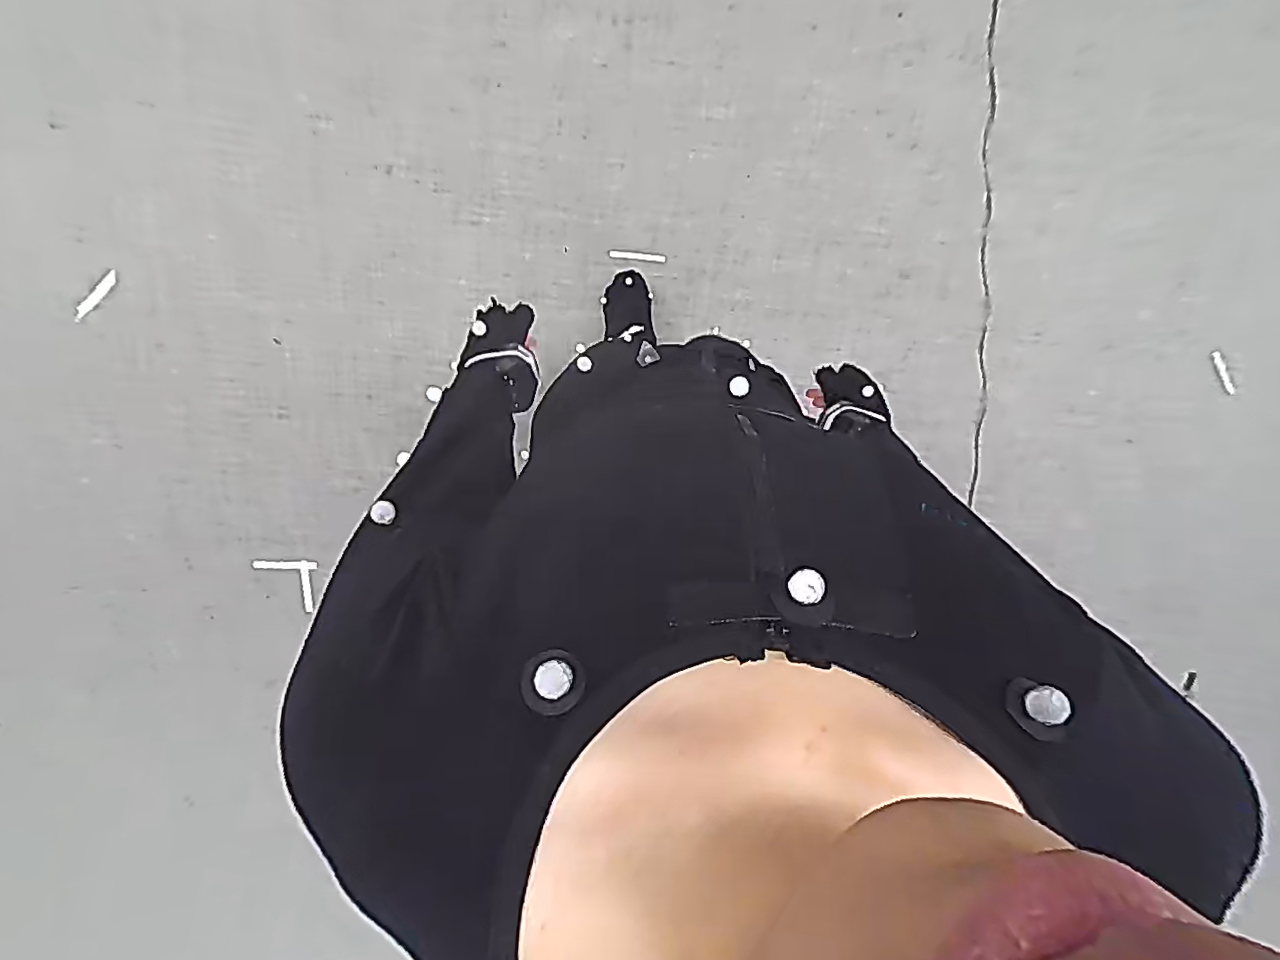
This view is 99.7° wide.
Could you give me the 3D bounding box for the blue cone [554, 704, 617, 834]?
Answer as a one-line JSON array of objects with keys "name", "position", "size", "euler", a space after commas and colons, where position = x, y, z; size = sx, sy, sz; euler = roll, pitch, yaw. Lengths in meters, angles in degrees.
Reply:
[{"name": "blue cone", "position": [-0.164, 0.813, 1.510], "size": [0.192, 0.380, 0.193], "euler": [1, 104, -1]}]
